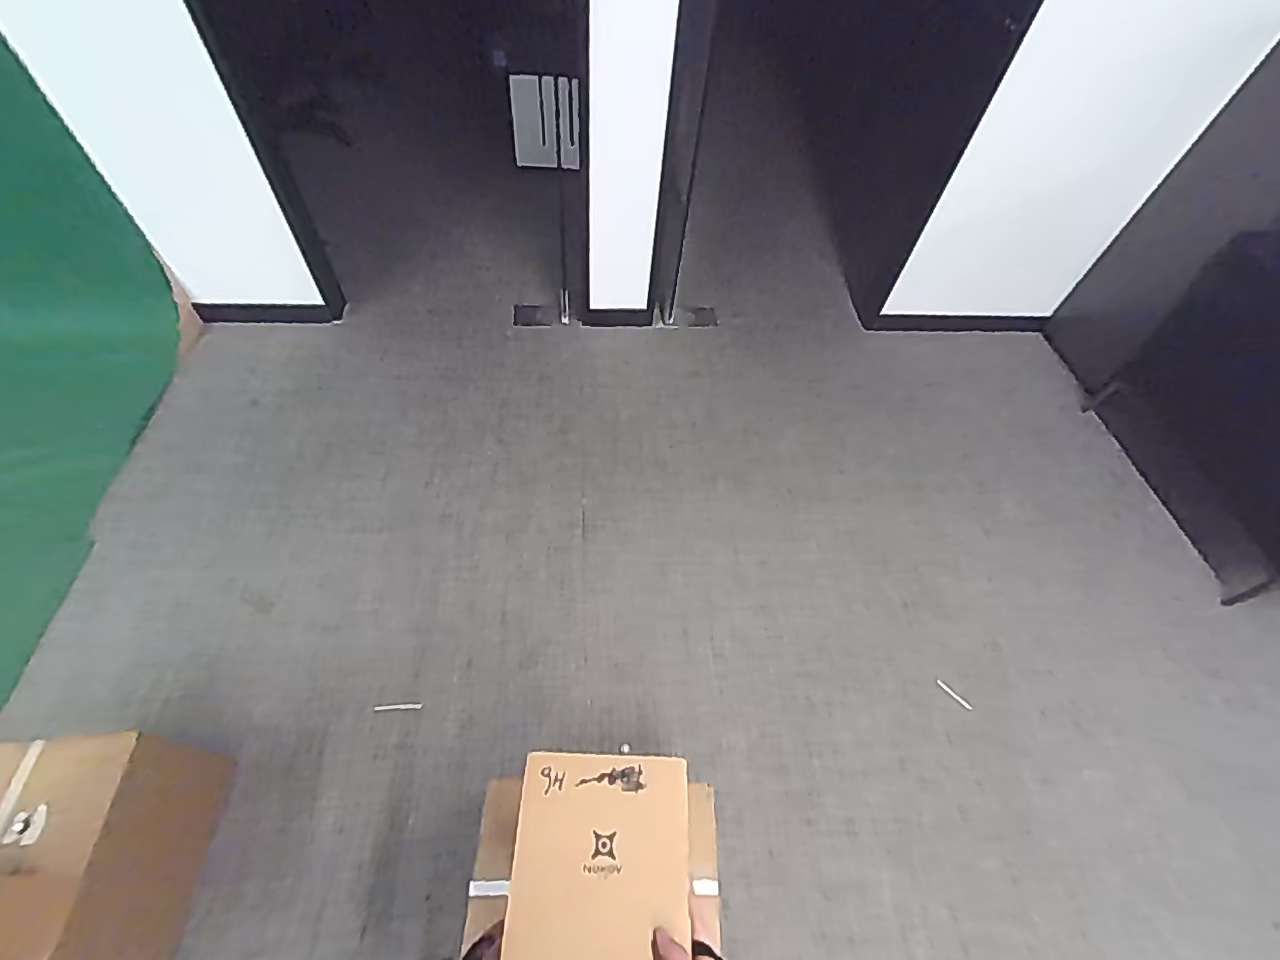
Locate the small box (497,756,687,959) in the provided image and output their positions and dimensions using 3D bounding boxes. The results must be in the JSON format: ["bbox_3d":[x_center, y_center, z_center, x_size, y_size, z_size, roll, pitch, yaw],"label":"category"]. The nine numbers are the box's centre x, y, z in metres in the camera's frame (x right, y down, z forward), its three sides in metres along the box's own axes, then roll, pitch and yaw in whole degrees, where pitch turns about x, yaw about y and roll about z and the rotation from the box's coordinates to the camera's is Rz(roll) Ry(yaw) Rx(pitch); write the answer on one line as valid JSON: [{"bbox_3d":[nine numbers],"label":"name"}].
[{"bbox_3d":[-0.042,0.404,0.567,0.168,0.176,0.179,5,54,-2],"label":"small box"}]

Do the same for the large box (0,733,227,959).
[{"bbox_3d":[-1.036,0.710,0.955,0.320,0.320,0.408,-2,53,-7],"label":"large box"}]

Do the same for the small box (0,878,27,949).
[{"bbox_3d":[-0.998,0.635,0.710,0.168,0.176,0.179,0,53,-6],"label":"small box"}]
